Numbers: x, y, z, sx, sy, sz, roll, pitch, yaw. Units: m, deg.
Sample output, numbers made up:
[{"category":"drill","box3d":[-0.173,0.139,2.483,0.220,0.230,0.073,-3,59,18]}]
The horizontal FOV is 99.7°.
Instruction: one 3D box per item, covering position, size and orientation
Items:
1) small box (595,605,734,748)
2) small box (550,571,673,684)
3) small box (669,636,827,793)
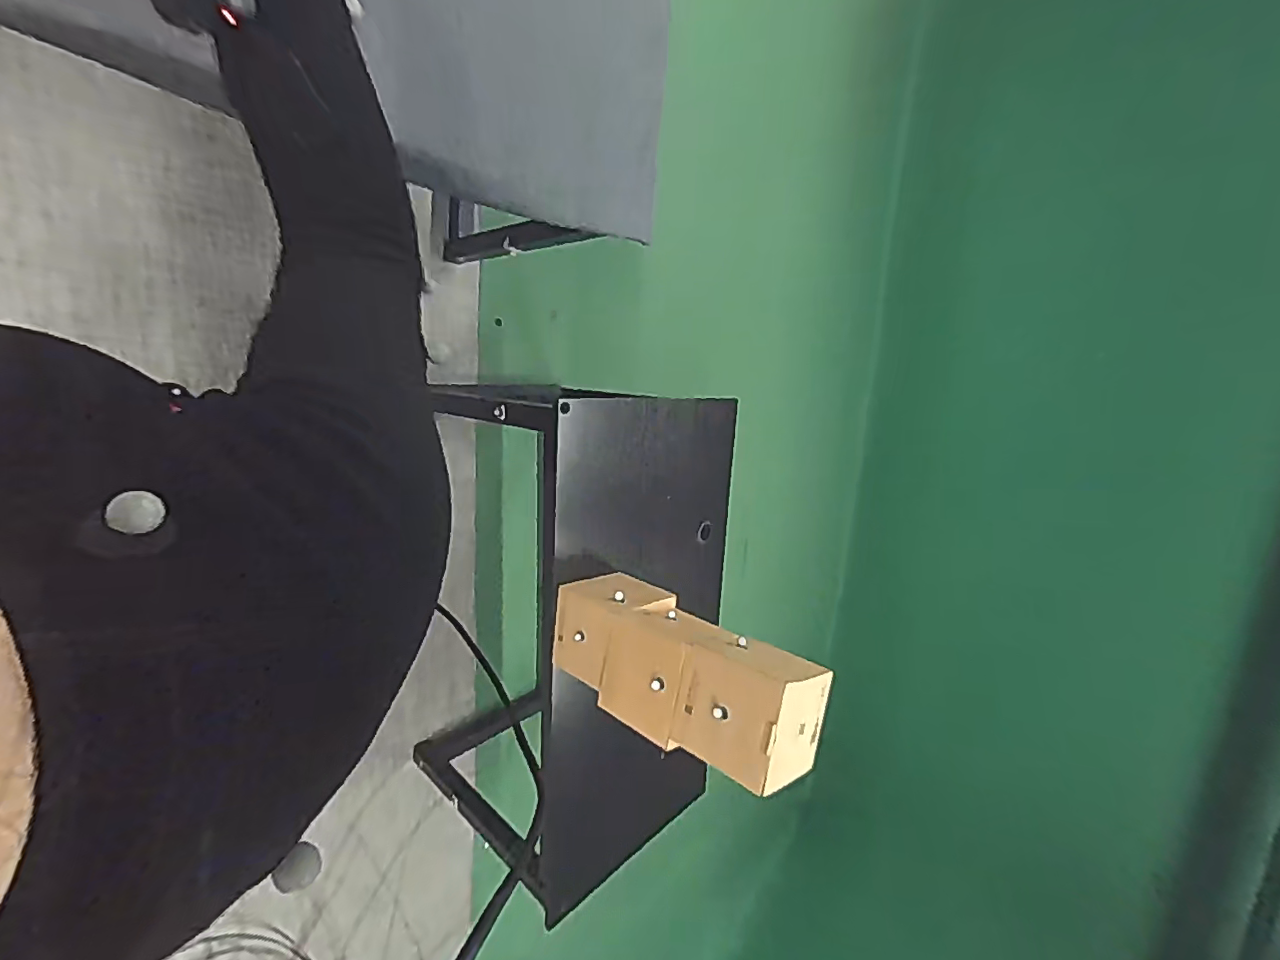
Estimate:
[{"category":"small box","box3d":[0.042,0.338,0.970,0.168,0.176,0.179,9,93,-48]},{"category":"small box","box3d":[-0.061,0.293,1.089,0.179,0.176,0.168,-2,103,-47]},{"category":"small box","box3d":[0.171,0.362,0.871,0.179,0.176,0.168,14,90,-47]}]
